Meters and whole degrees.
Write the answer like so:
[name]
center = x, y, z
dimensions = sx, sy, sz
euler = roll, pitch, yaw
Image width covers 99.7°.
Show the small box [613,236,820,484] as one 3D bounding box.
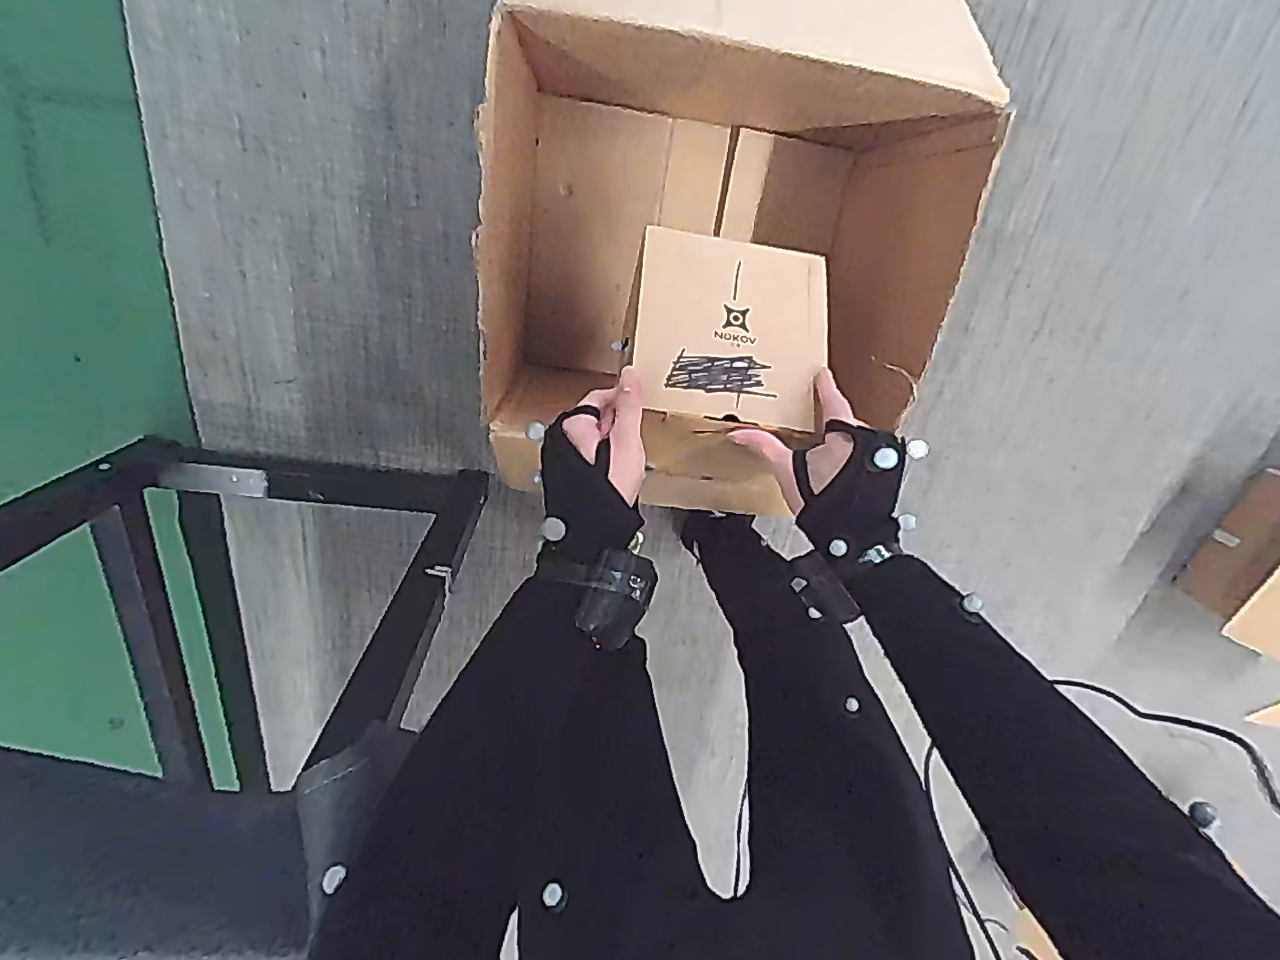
[small box]
center = 0.066, -0.104, 0.545
dimensions = 0.168, 0.176, 0.179
euler = 8, 73, -7
